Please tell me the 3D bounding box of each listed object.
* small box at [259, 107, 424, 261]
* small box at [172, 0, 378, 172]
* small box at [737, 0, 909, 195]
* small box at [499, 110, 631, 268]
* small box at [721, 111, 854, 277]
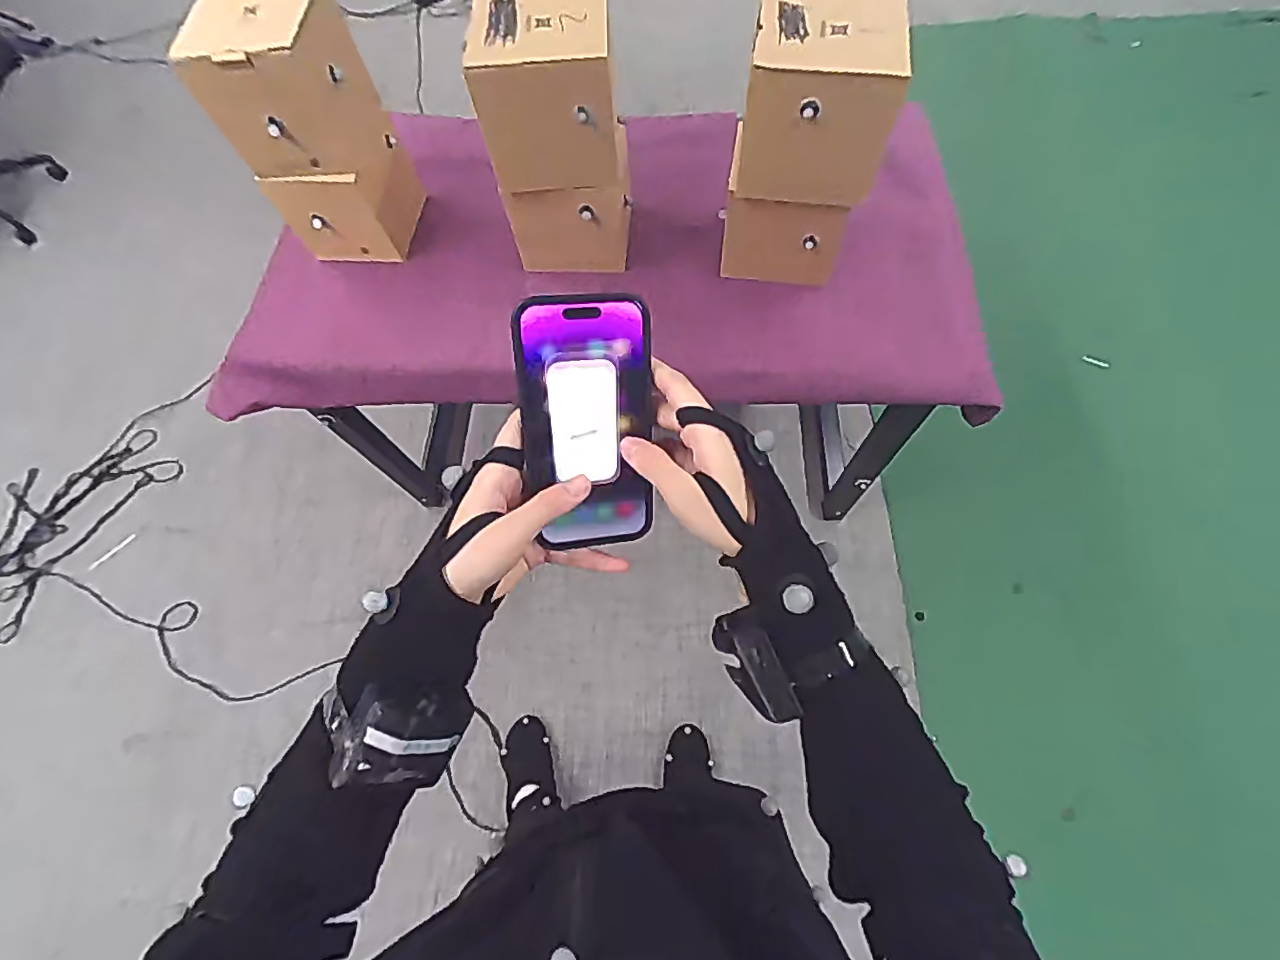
[{"bbox_3d":[-0.497,-0.501,0.933,0.168,0.176,0.179,3,66,6],"label":"small box"},{"bbox_3d":[-0.509,-0.575,0.786,0.168,0.176,0.179,-2,67,3],"label":"small box"},{"bbox_3d":[0.223,-0.496,0.695,0.179,0.176,0.168,8,67,7],"label":"small box"},{"bbox_3d":[-0.110,-0.469,0.887,0.179,0.176,0.168,2,66,6],"label":"small box"},{"bbox_3d":[0.228,-0.444,0.852,0.179,0.176,0.168,8,67,9],"label":"small box"}]
